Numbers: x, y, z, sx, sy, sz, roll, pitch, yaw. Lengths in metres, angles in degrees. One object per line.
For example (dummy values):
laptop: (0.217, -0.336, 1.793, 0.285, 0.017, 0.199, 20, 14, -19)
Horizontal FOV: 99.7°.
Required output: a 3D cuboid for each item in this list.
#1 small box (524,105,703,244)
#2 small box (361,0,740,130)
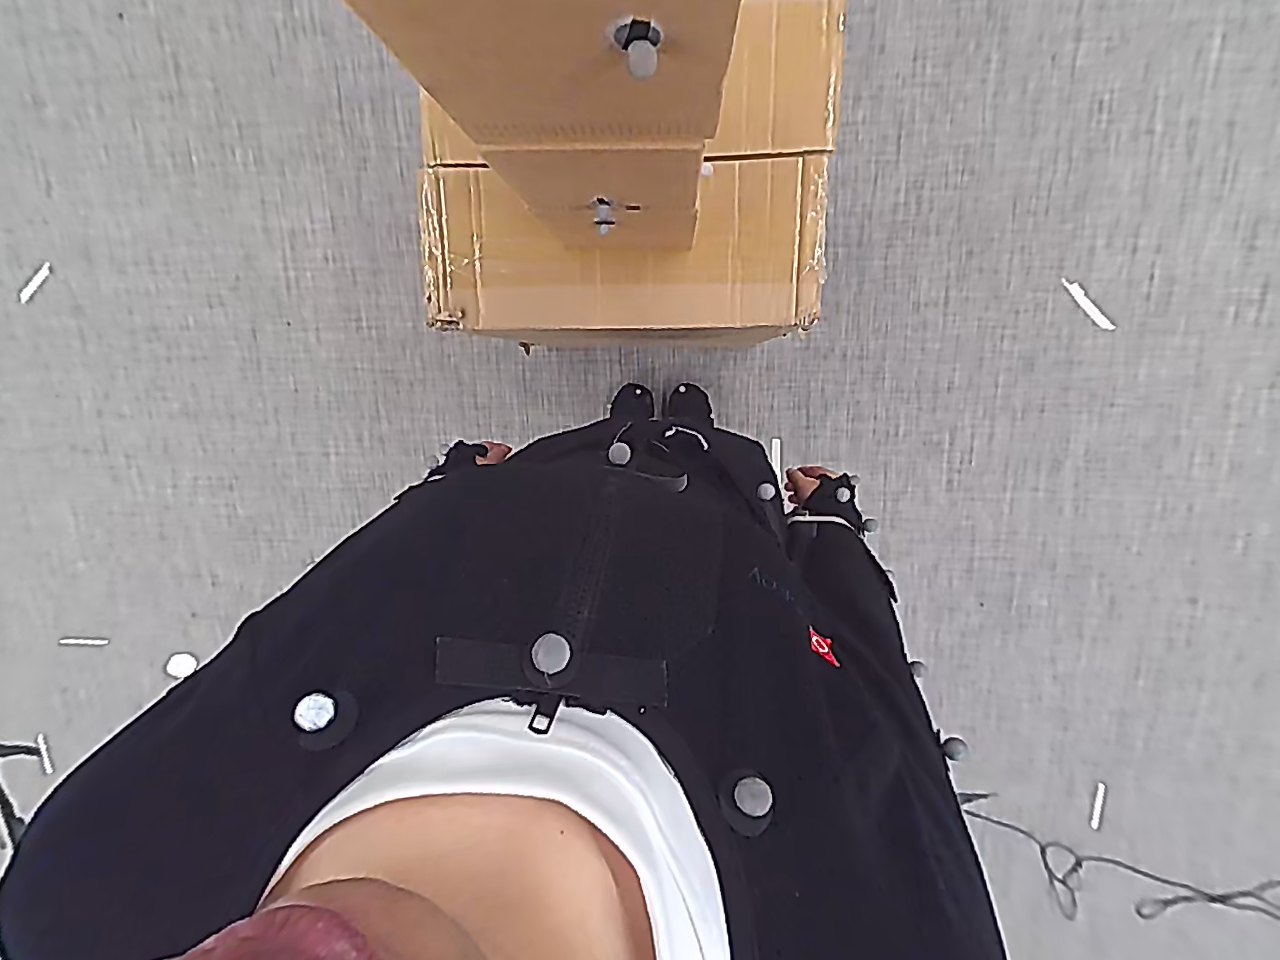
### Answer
small box: (-0.021, -0.368, 0.601, 0.179, 0.176, 0.168, 2, 102, 3)
small box: (-0.037, -0.305, 0.278, 0.179, 0.176, 0.168, 1, 102, 4)
